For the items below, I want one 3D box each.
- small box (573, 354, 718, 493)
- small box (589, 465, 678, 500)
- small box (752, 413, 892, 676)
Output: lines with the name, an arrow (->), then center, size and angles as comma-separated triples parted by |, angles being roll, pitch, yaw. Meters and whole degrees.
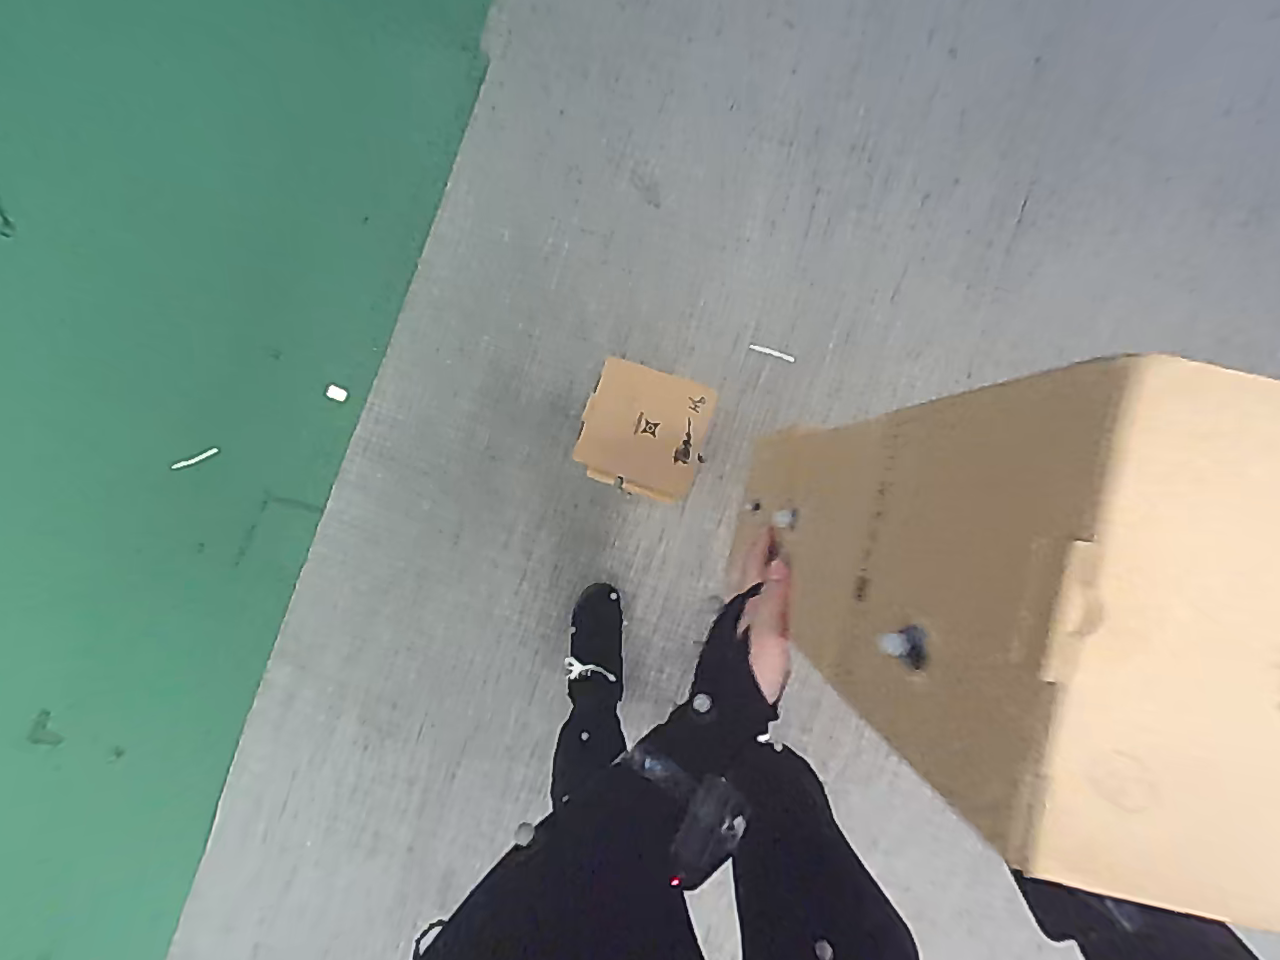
small box -> 0.011, -0.079, 0.872 | 0.179, 0.176, 0.168 | 19, 88, 4
small box -> 0.015, -0.066, 1.036 | 0.168, 0.176, 0.179 | 17, 87, 3
small box -> 0.200, 0.053, 0.409 | 0.179, 0.176, 0.168 | 11, 90, 0
